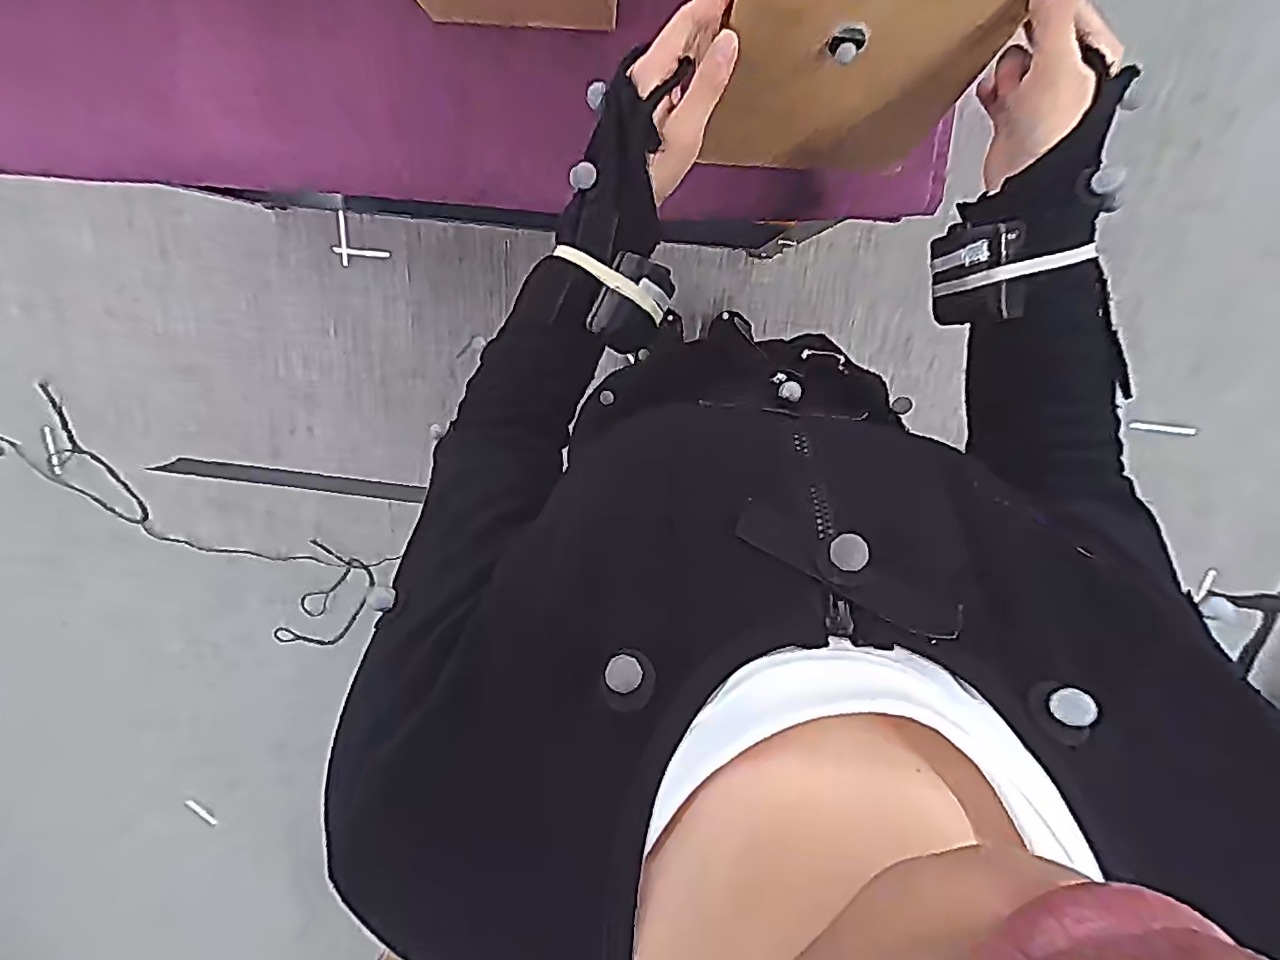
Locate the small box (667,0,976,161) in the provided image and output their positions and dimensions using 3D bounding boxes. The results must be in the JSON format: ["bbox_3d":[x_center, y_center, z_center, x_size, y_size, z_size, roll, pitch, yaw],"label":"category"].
[{"bbox_3d":[0.112,-0.342,0.354,0.179,0.176,0.168,2,83,-3],"label":"small box"}]
